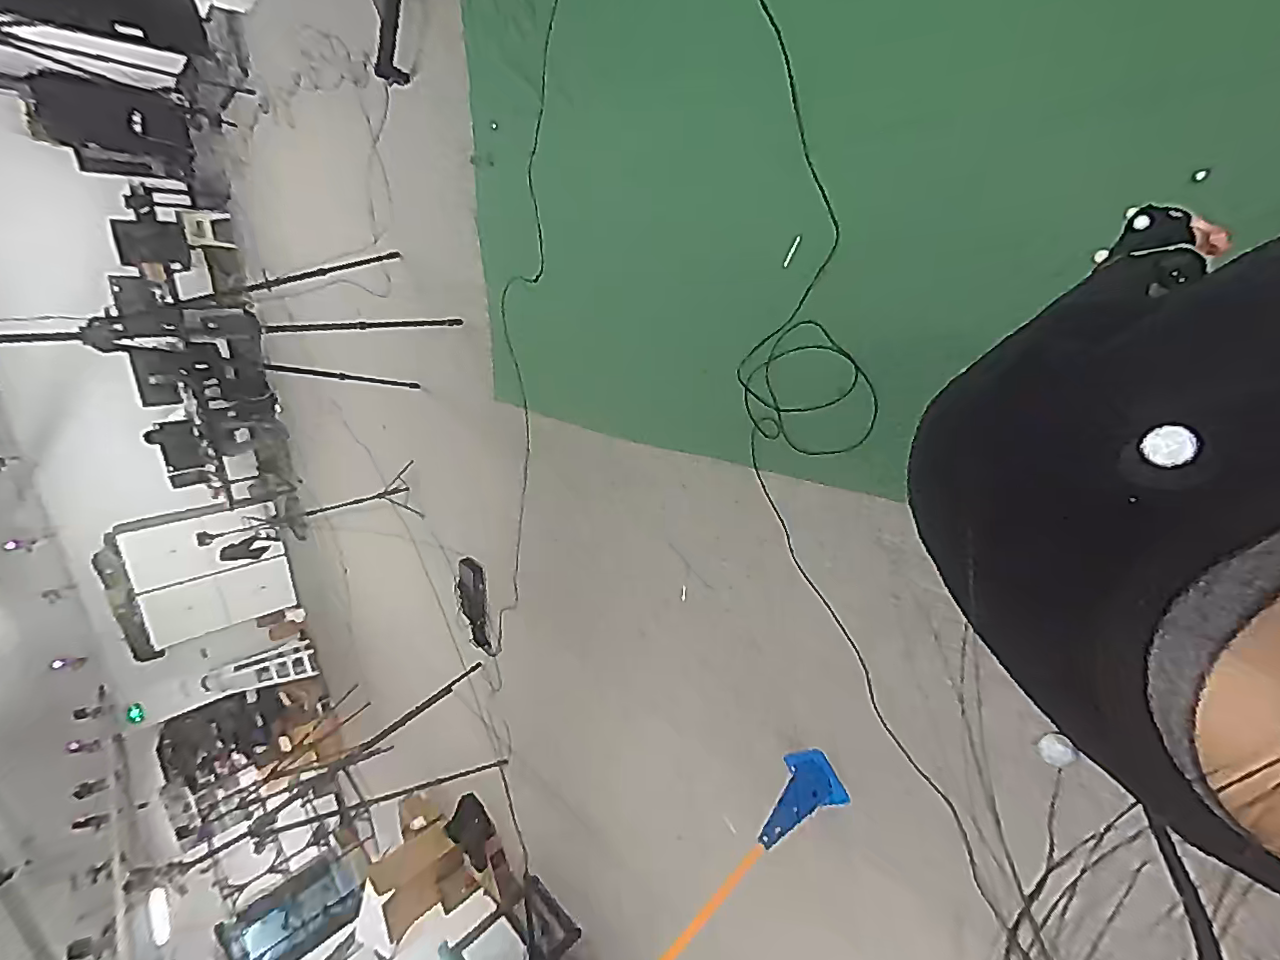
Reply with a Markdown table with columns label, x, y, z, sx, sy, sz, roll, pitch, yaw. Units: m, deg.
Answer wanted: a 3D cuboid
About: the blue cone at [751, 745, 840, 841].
| label | x | y | z | sx | sy | sz | roll | pitch | yaw |
| --- | --- | --- | --- | --- | --- | --- | --- | --- | --- |
| blue cone | 0.514 | 1.124 | 1.891 | 0.192 | 0.380 | 0.193 | 57 | 138 | 12 |
